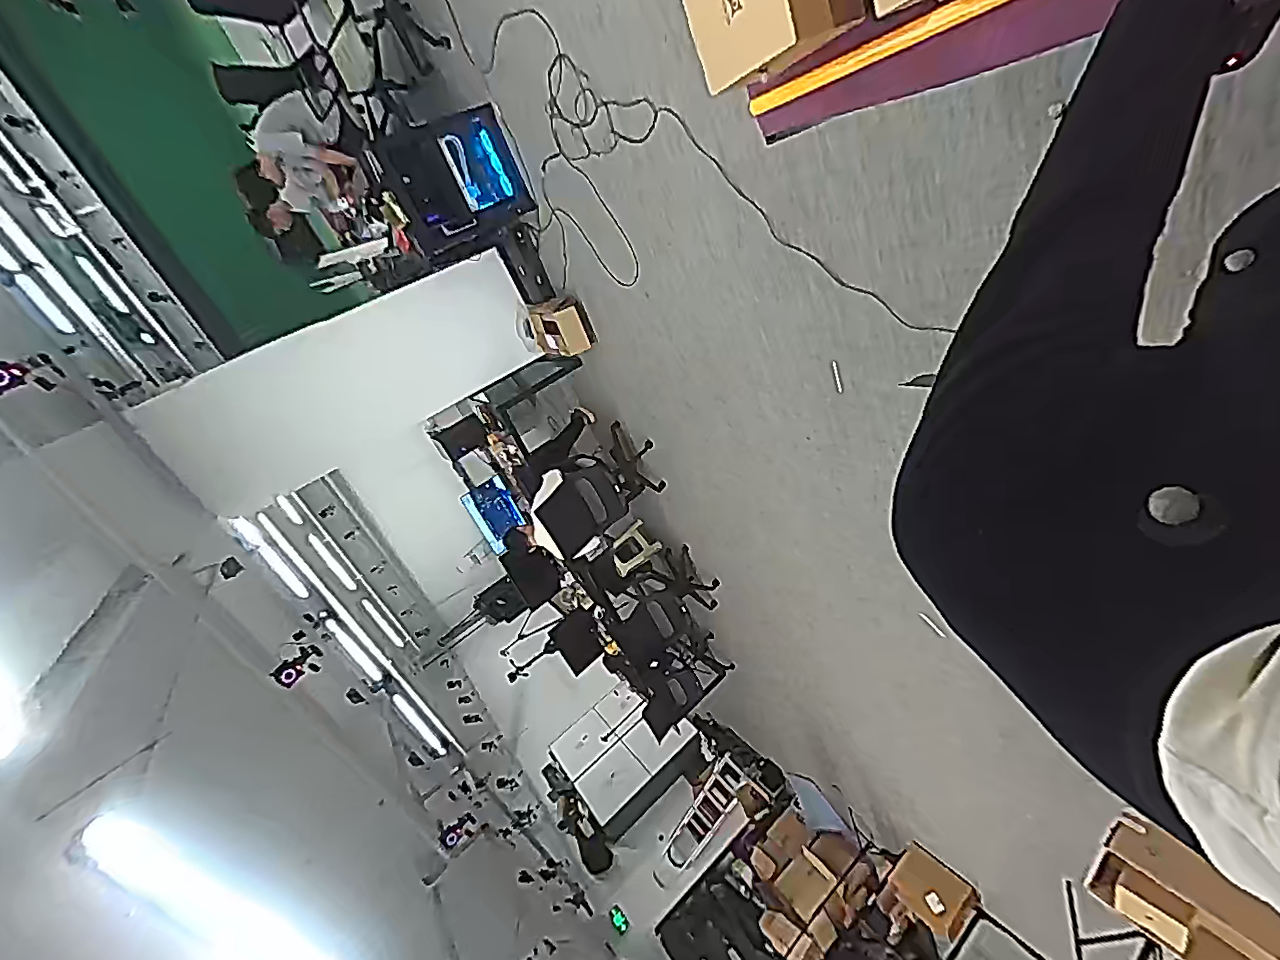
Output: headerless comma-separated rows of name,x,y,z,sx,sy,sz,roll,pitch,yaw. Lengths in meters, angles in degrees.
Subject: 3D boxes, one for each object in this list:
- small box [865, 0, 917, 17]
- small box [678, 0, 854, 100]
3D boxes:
small box,0.338,-0.629,0.550,0.168,0.176,0.179,20,140,56
small box,0.183,-0.691,0.774,0.179,0.176,0.168,19,139,56
